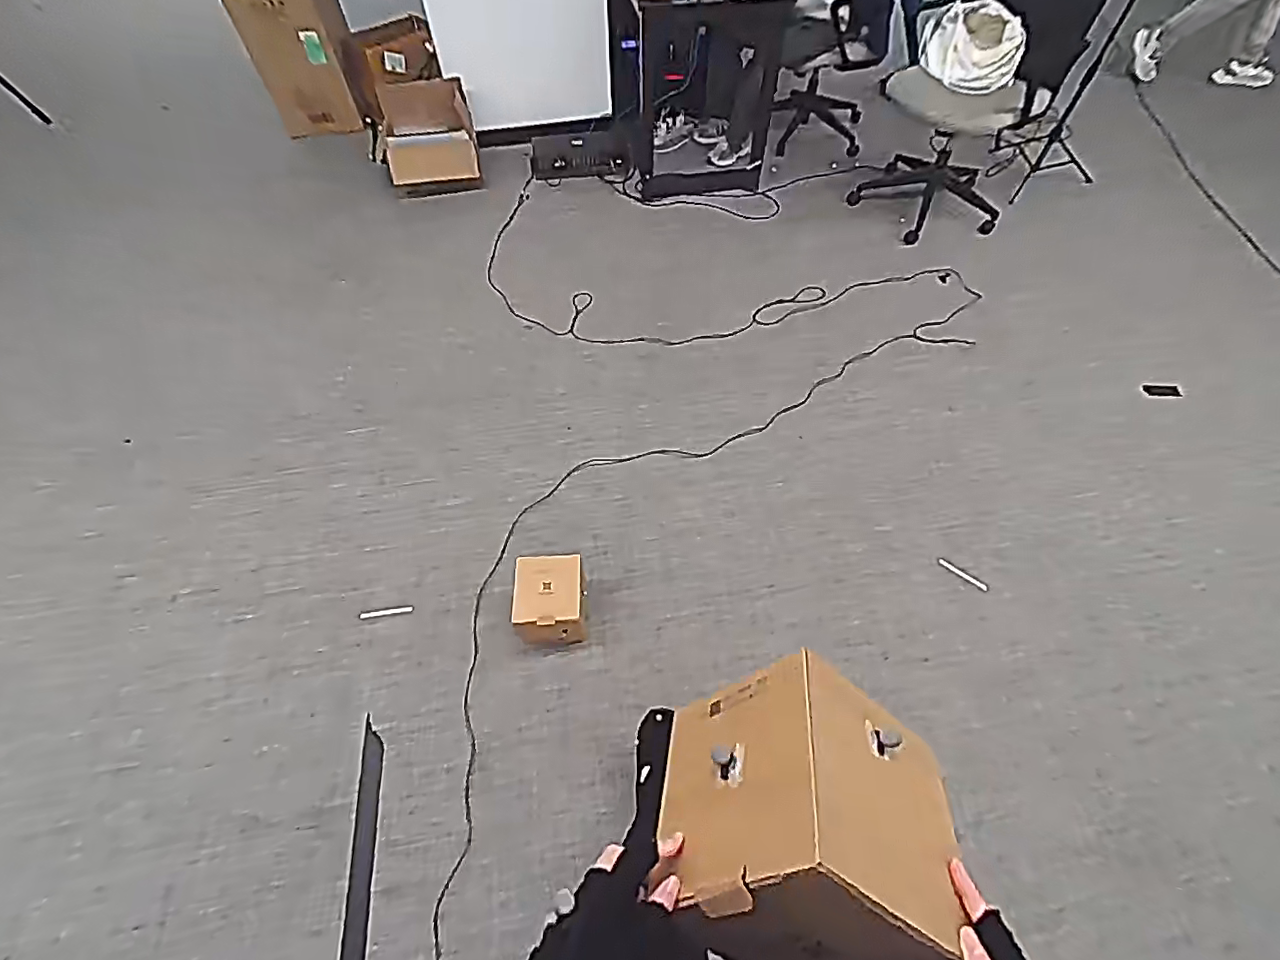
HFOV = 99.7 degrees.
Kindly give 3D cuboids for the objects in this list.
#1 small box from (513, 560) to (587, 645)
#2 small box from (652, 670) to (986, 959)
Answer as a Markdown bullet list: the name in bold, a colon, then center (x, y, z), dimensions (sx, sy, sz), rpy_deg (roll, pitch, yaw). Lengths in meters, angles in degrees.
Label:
- **small box**: center (-0.226, 0.325, 1.409), dimensions (0.168, 0.176, 0.179), rpy_deg (-2, 57, -1)
- **small box**: center (0.138, 0.285, 0.450), dimensions (0.179, 0.168, 0.176), rpy_deg (40, 33, -13)
